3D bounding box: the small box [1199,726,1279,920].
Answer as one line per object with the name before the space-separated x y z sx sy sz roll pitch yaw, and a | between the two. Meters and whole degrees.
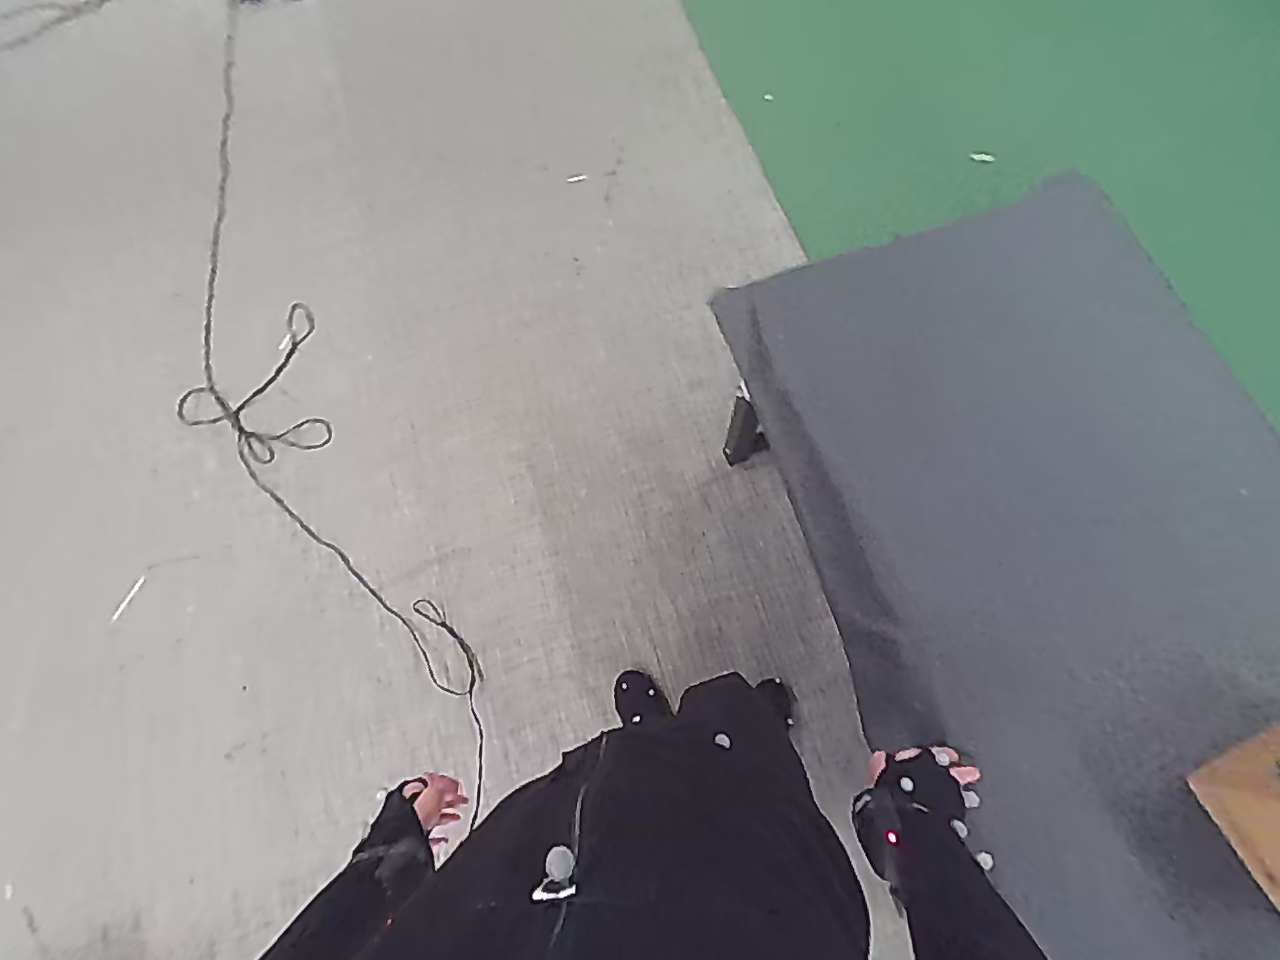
small box | 0.742 0.366 0.546 0.179 0.176 0.168 -24 74 -5
